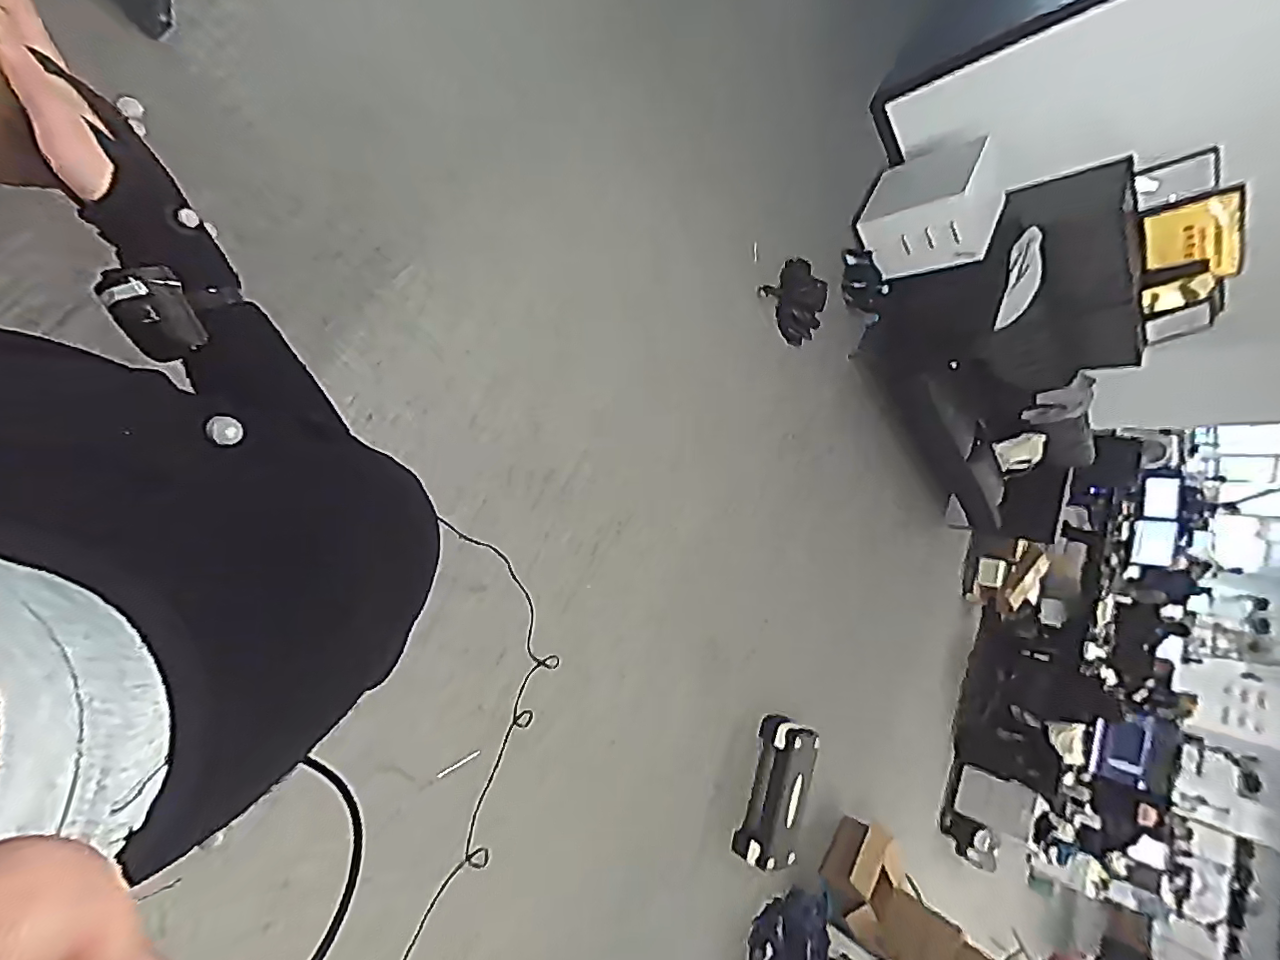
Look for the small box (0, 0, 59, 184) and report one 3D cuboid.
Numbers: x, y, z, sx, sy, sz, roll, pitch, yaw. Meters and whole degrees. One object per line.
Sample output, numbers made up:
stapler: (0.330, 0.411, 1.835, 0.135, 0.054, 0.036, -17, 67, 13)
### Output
small box: (-0.466, -0.292, 0.291, 0.168, 0.176, 0.179, -15, 92, -37)
